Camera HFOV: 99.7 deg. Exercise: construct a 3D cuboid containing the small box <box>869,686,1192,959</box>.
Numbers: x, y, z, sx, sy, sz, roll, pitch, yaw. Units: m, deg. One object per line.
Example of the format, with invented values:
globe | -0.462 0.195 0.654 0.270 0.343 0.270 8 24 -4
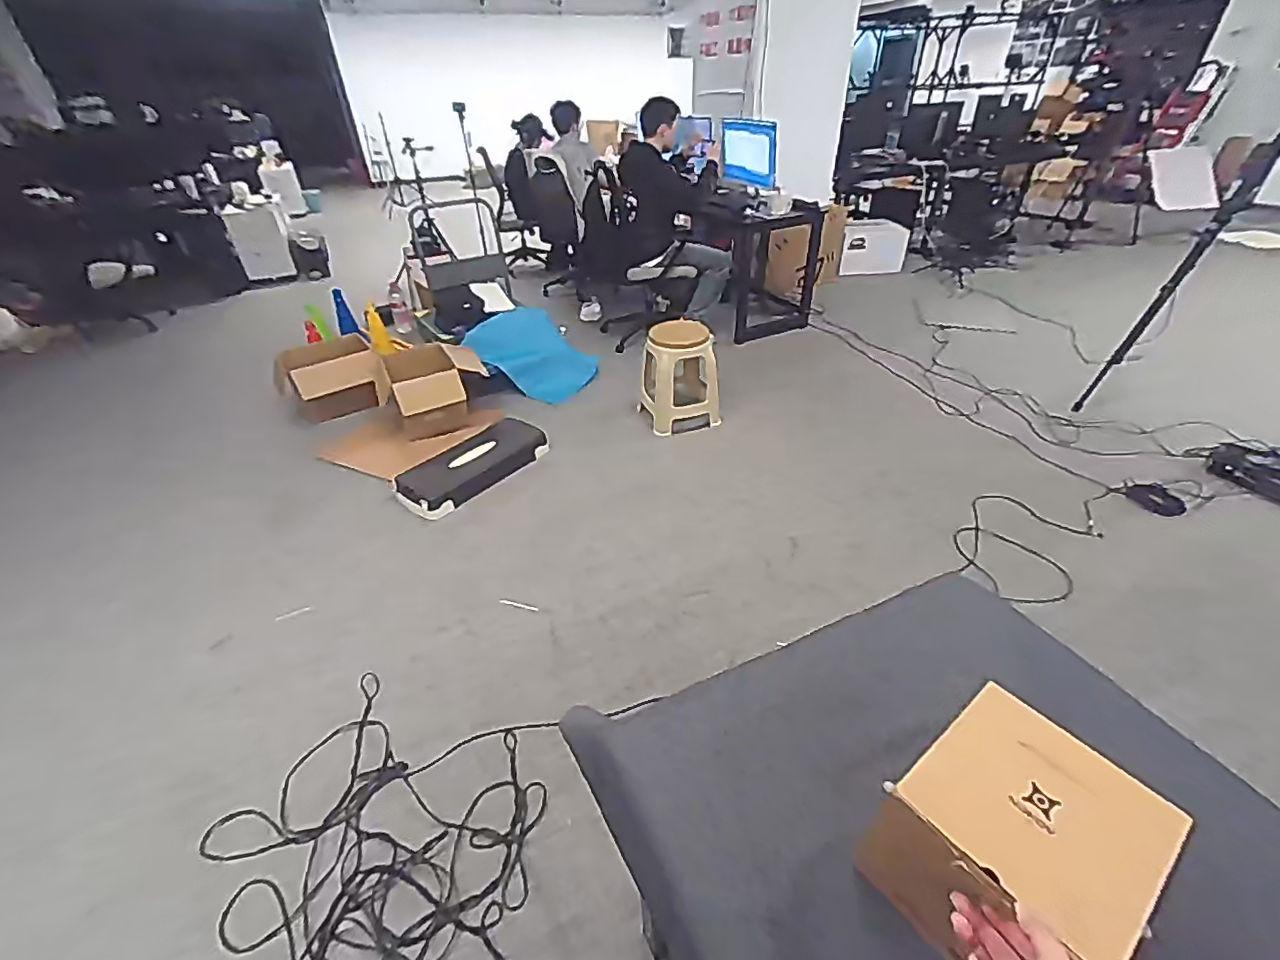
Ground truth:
small box | 0.338 0.341 0.501 0.179 0.176 0.168 -24 42 -29
